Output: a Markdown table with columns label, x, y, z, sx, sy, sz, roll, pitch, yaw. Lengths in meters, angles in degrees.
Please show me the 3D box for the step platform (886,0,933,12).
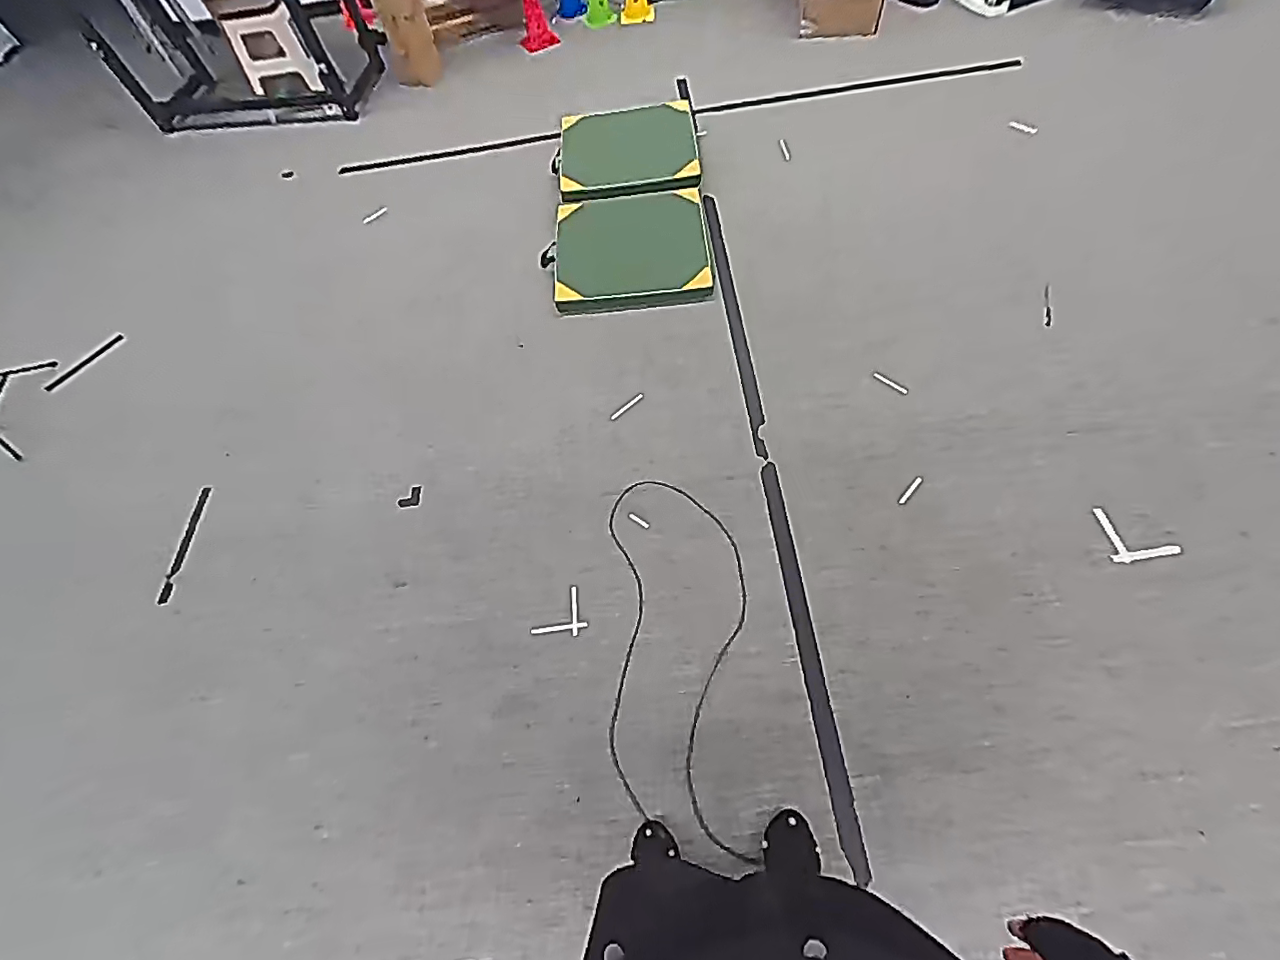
| label | x | y | z | sx | sy | sz | roll | pitch | yaw |
| --- | --- | --- | --- | --- | --- | --- | --- | --- | --- |
| step platform | 1.707 | -2.837 | 2.973 | 0.684 | 0.204 | 0.286 | -32 | 63 | -11 |
